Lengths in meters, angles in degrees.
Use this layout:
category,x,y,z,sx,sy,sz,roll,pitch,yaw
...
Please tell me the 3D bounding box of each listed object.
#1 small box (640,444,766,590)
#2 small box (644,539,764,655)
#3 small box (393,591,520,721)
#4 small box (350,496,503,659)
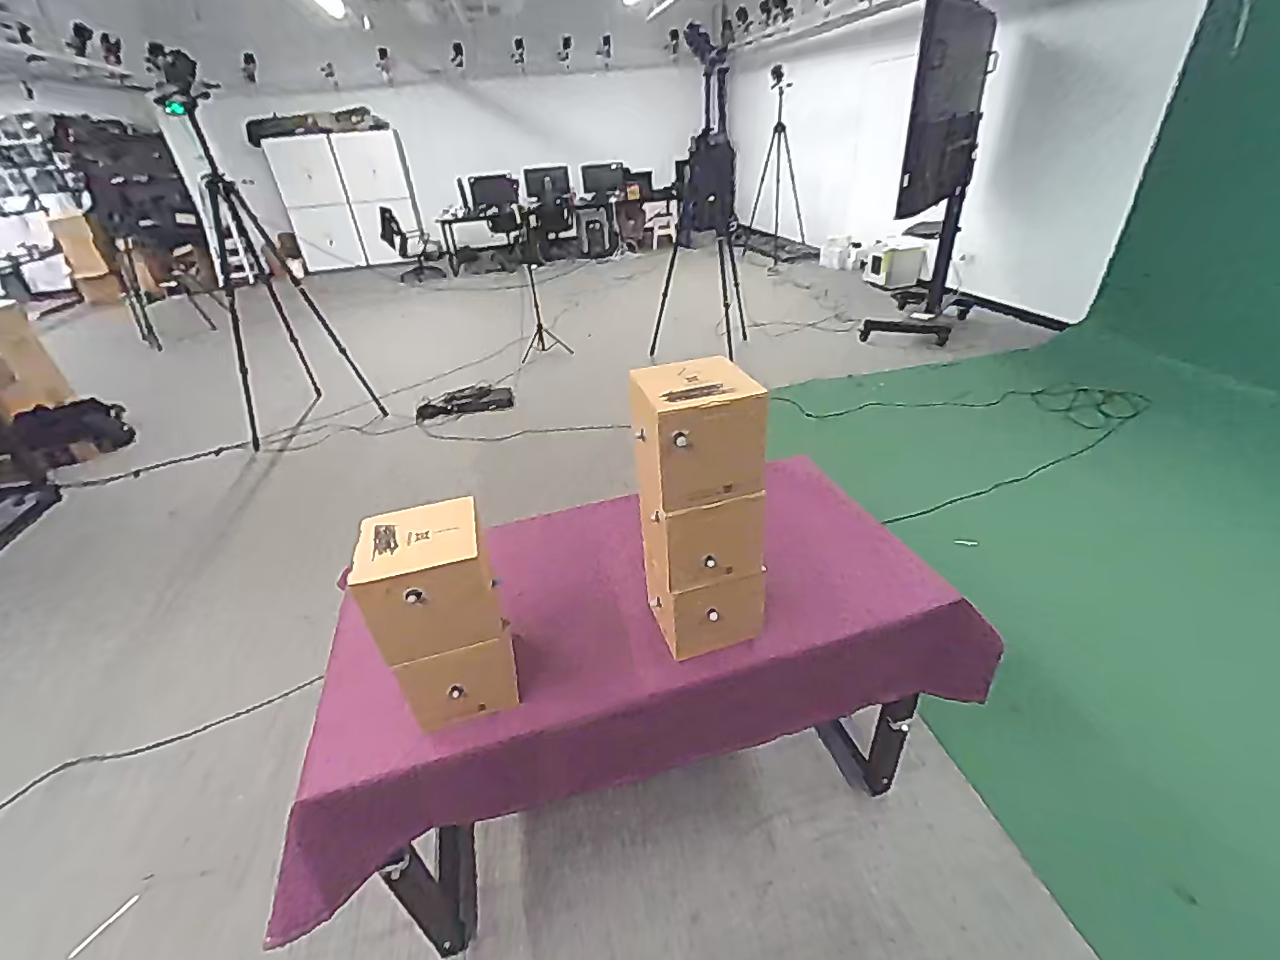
category,x,y,z,sx,sy,sz,roll,pitch,yaw
small box,0.102,0.061,0.937,0.168,0.176,0.179,-12,33,-11
small box,0.120,0.201,1.019,0.179,0.176,0.168,-14,34,-11
small box,-0.311,0.291,0.942,0.168,0.176,0.179,-12,33,-11
small box,-0.325,0.153,0.853,0.179,0.176,0.168,-12,33,-12
